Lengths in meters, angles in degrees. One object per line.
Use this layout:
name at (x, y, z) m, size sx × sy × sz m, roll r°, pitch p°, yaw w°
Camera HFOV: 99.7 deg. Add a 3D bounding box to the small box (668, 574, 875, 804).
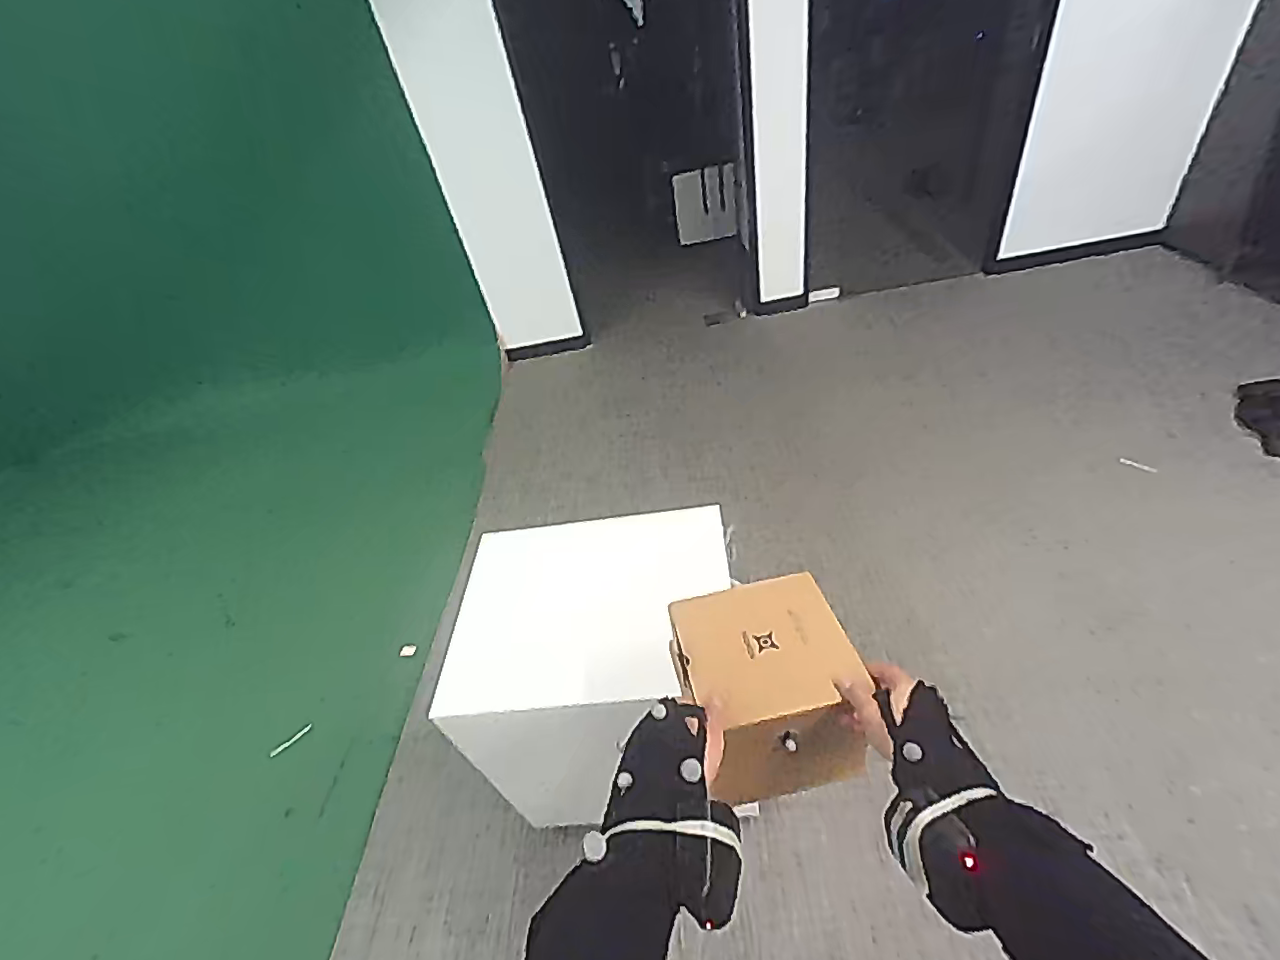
small box at (0.140, 0.238, 0.617) m, size 0.179 × 0.176 × 0.168 m, roll -11°, pitch 36°, yaw -3°
